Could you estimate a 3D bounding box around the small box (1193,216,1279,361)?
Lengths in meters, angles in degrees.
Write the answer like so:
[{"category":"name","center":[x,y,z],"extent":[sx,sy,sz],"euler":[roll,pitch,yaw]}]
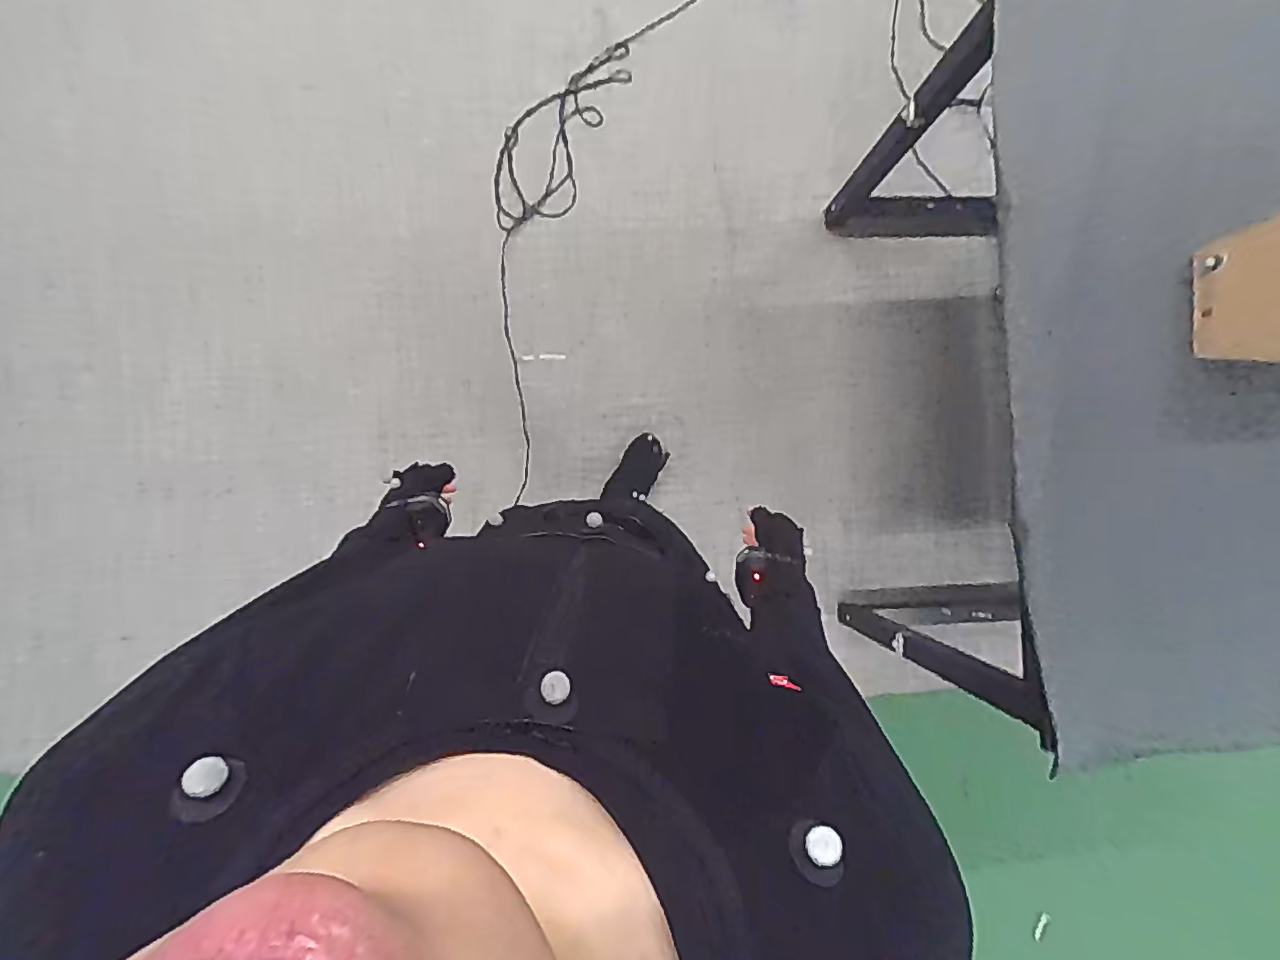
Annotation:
[{"category":"small box","center":[0.921,-0.265,0.742],"extent":[0.179,0.176,0.168],"euler":[2,89,-5]}]
